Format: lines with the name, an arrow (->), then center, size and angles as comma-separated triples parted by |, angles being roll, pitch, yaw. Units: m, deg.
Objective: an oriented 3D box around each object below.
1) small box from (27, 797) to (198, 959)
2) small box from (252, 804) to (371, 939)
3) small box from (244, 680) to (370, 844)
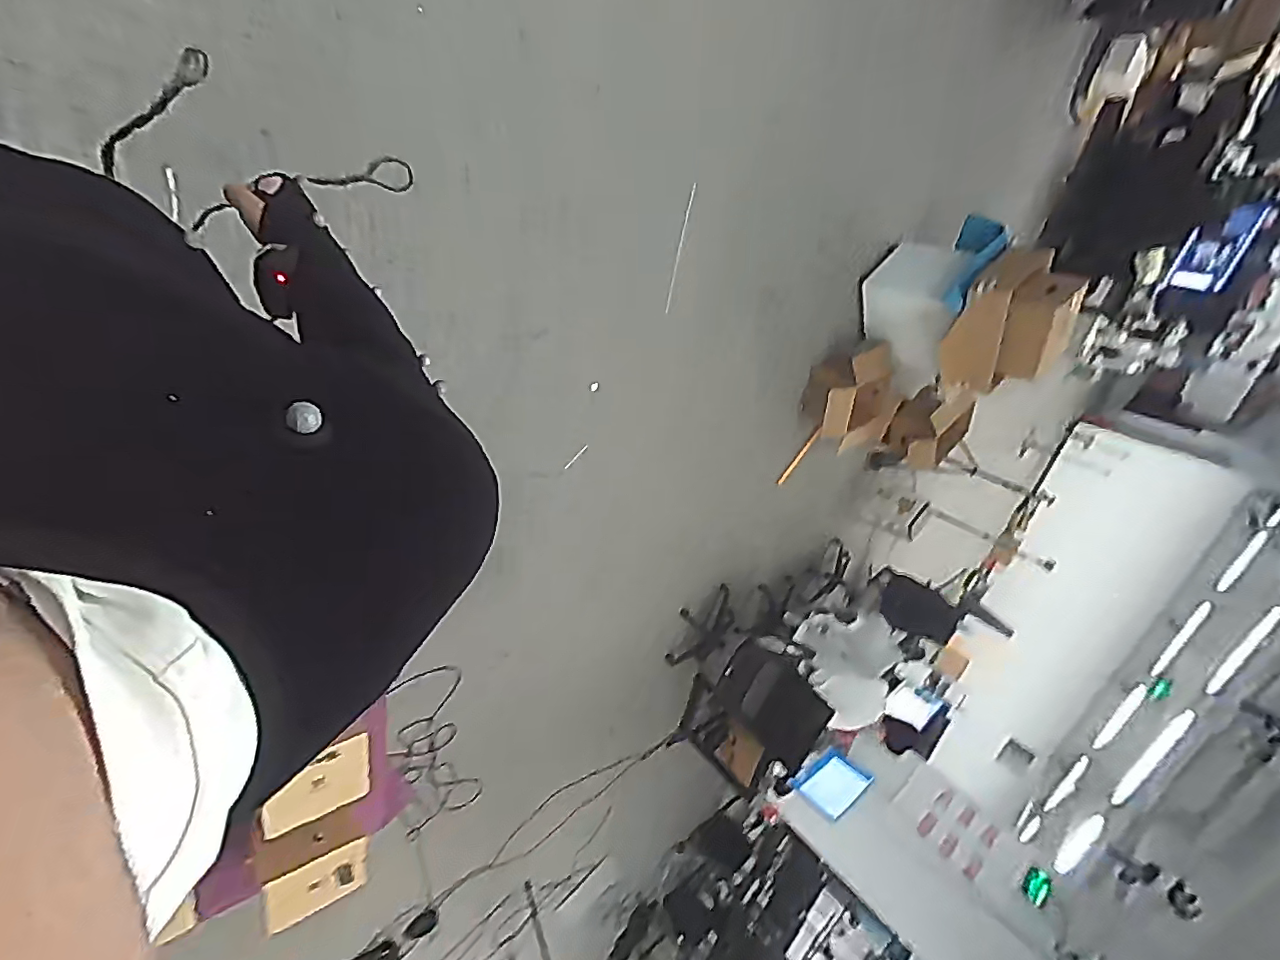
small box -> -0.843, 0.668, 0.878 | 0.179, 0.176, 0.168 | -8, 122, -42
small box -> -0.679, 0.771, 1.118 | 0.179, 0.176, 0.168 | -8, 121, -41
small box -> -0.616, 0.511, 1.003 | 0.168, 0.176, 0.179 | -12, 125, -41
